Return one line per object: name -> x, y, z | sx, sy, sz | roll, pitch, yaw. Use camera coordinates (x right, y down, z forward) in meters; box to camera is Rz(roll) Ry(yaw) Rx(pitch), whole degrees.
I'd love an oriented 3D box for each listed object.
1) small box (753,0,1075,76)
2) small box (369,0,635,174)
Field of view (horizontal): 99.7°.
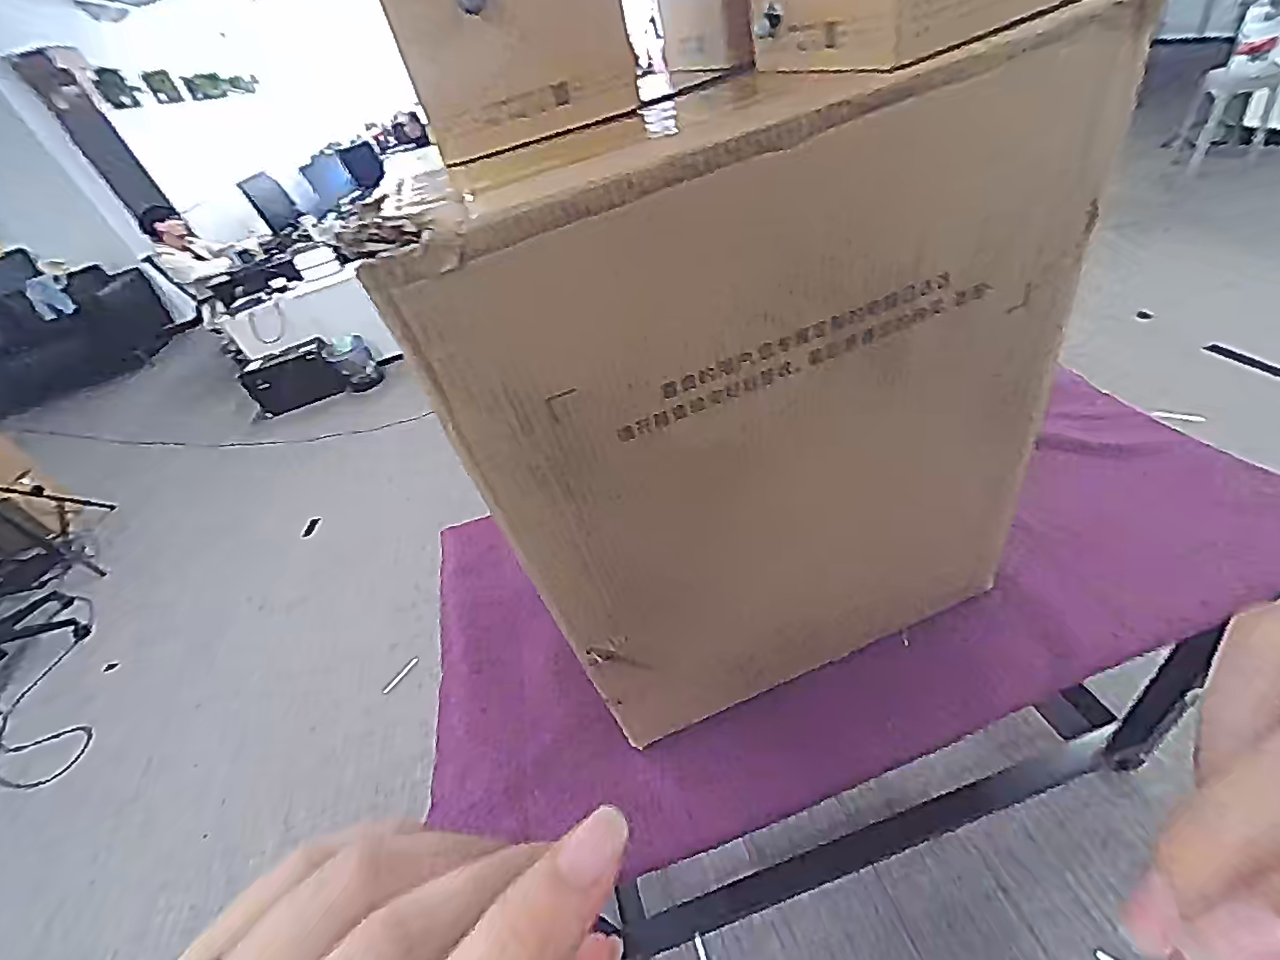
small box -> 0.174, -0.373, 0.333 | 0.179, 0.176, 0.168 | -24, 40, -6
small box -> -0.114, -0.370, 0.440 | 0.168, 0.176, 0.179 | -20, 39, -3
